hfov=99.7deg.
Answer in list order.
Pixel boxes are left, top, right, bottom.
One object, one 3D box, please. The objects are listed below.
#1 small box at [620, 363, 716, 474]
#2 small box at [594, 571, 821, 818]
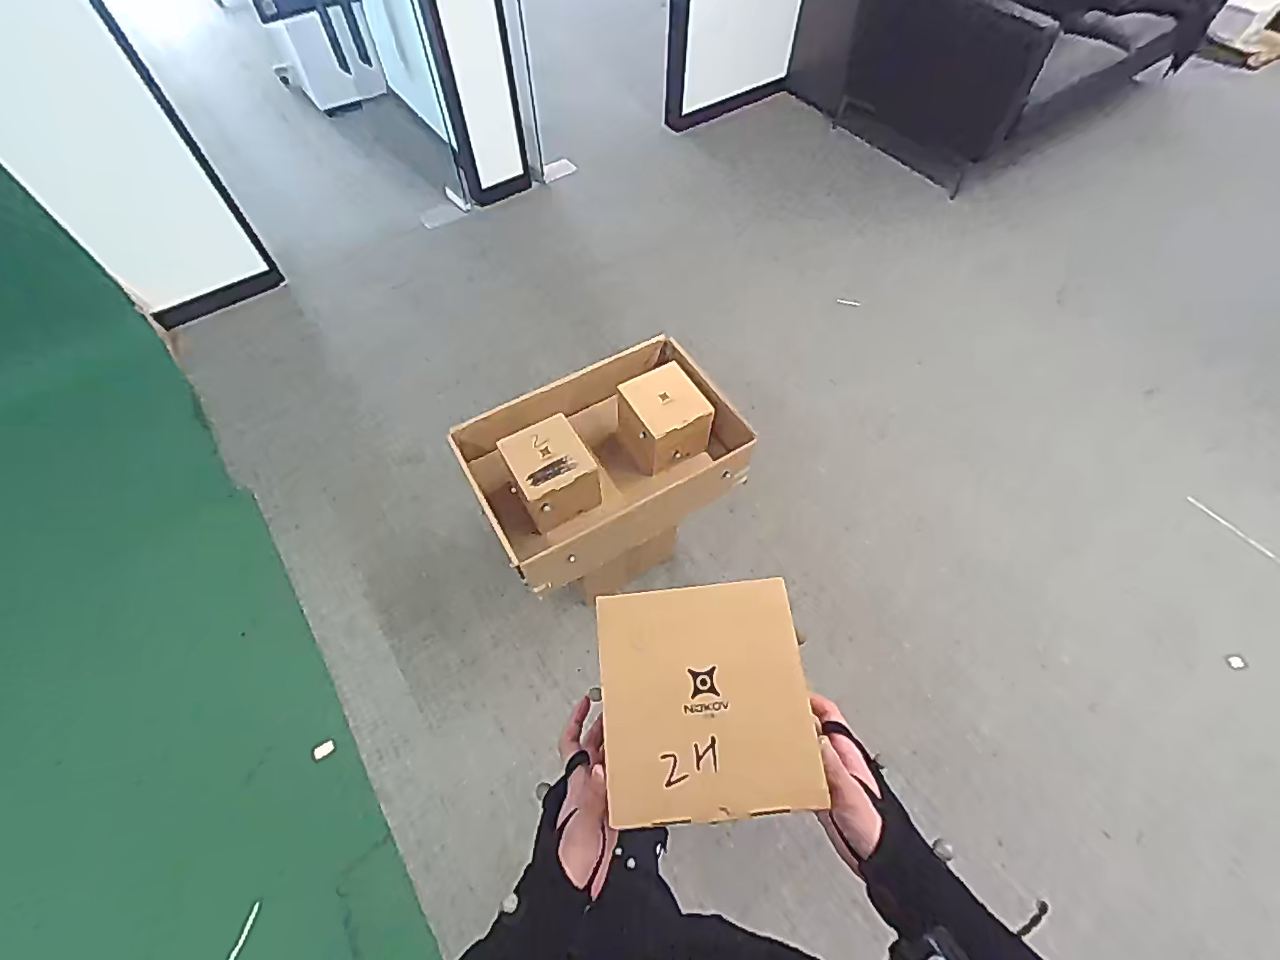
[{"bbox_3d":[0.060,-0.147,1.323,0.168,0.176,0.179,-27,64,-16],"label":"small box"},{"bbox_3d":[0.051,0.198,0.505,0.168,0.176,0.179,-7,65,2],"label":"small box"}]
